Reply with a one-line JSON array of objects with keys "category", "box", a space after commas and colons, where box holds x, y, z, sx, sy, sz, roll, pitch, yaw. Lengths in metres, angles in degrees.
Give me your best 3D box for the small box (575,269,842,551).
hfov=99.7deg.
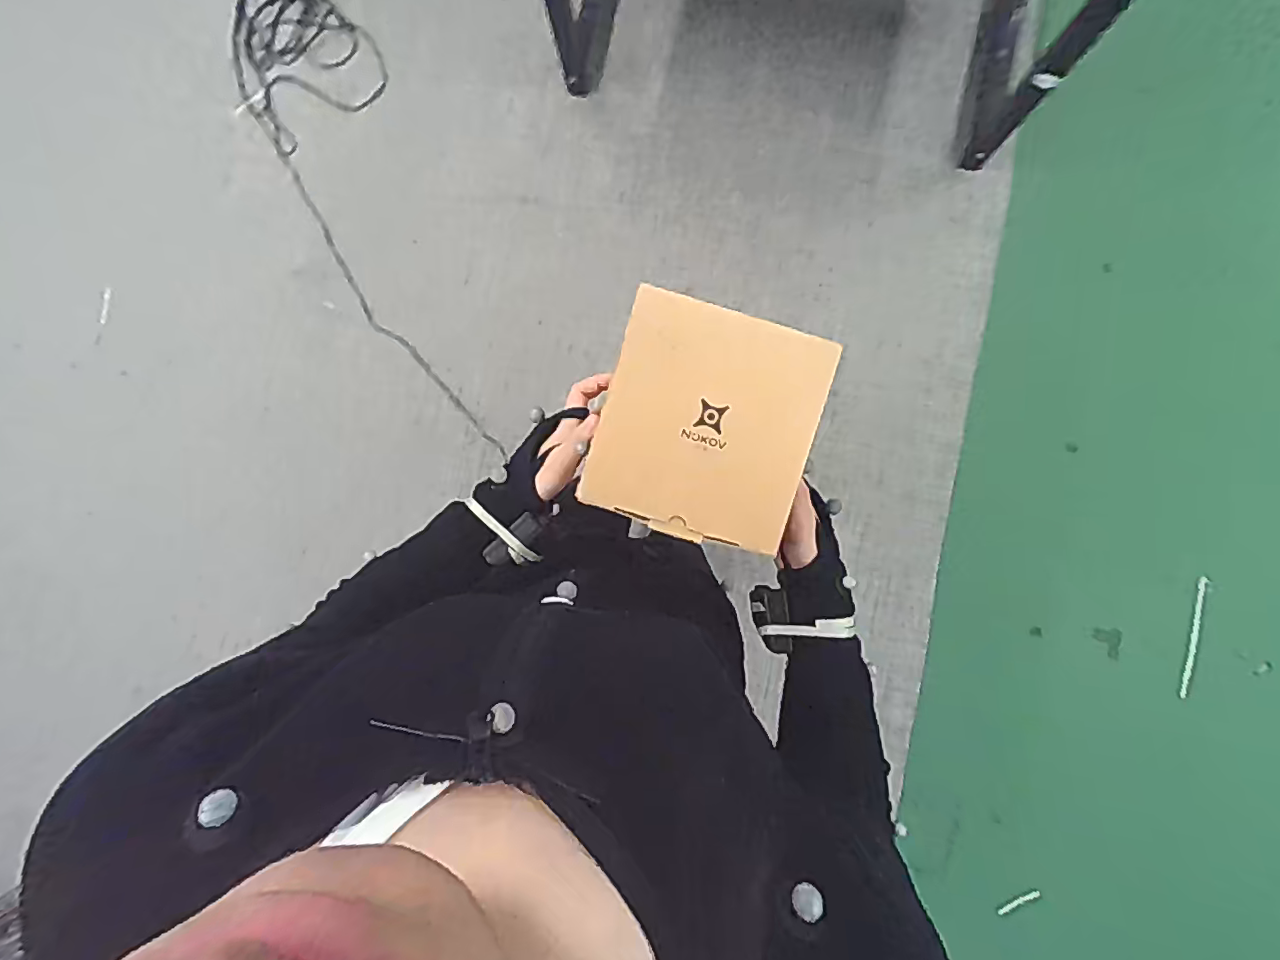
[{"category": "small box", "box": [0.049, -0.054, 0.481, 0.168, 0.176, 0.179, 15, 93, -1]}]
